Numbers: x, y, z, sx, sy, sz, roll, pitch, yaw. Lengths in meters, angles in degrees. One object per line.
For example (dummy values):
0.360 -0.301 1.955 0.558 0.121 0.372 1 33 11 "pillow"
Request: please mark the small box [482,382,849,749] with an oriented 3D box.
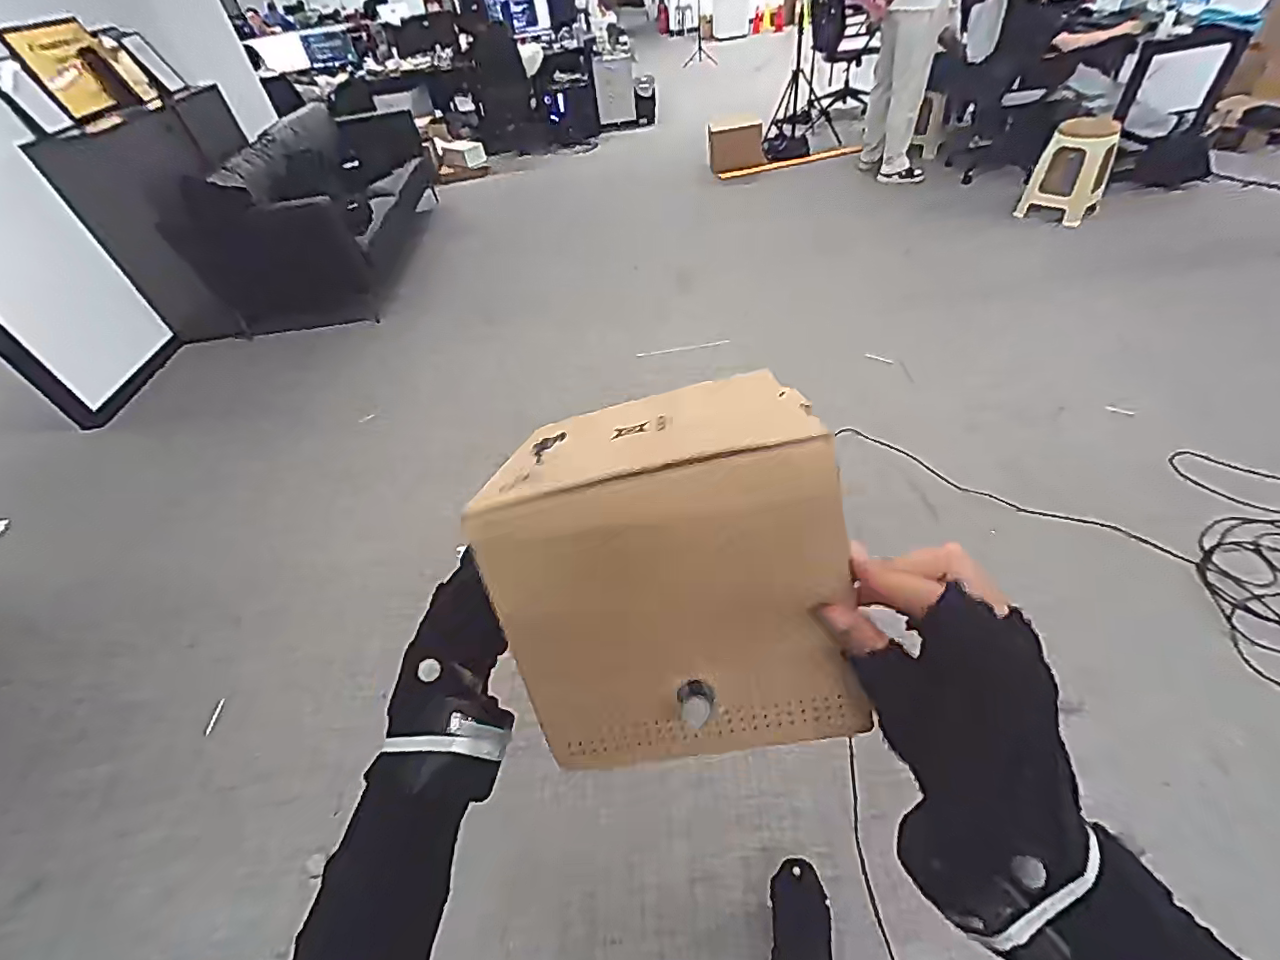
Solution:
0.027 0.045 0.356 0.179 0.176 0.168 -11 16 7 "small box"
